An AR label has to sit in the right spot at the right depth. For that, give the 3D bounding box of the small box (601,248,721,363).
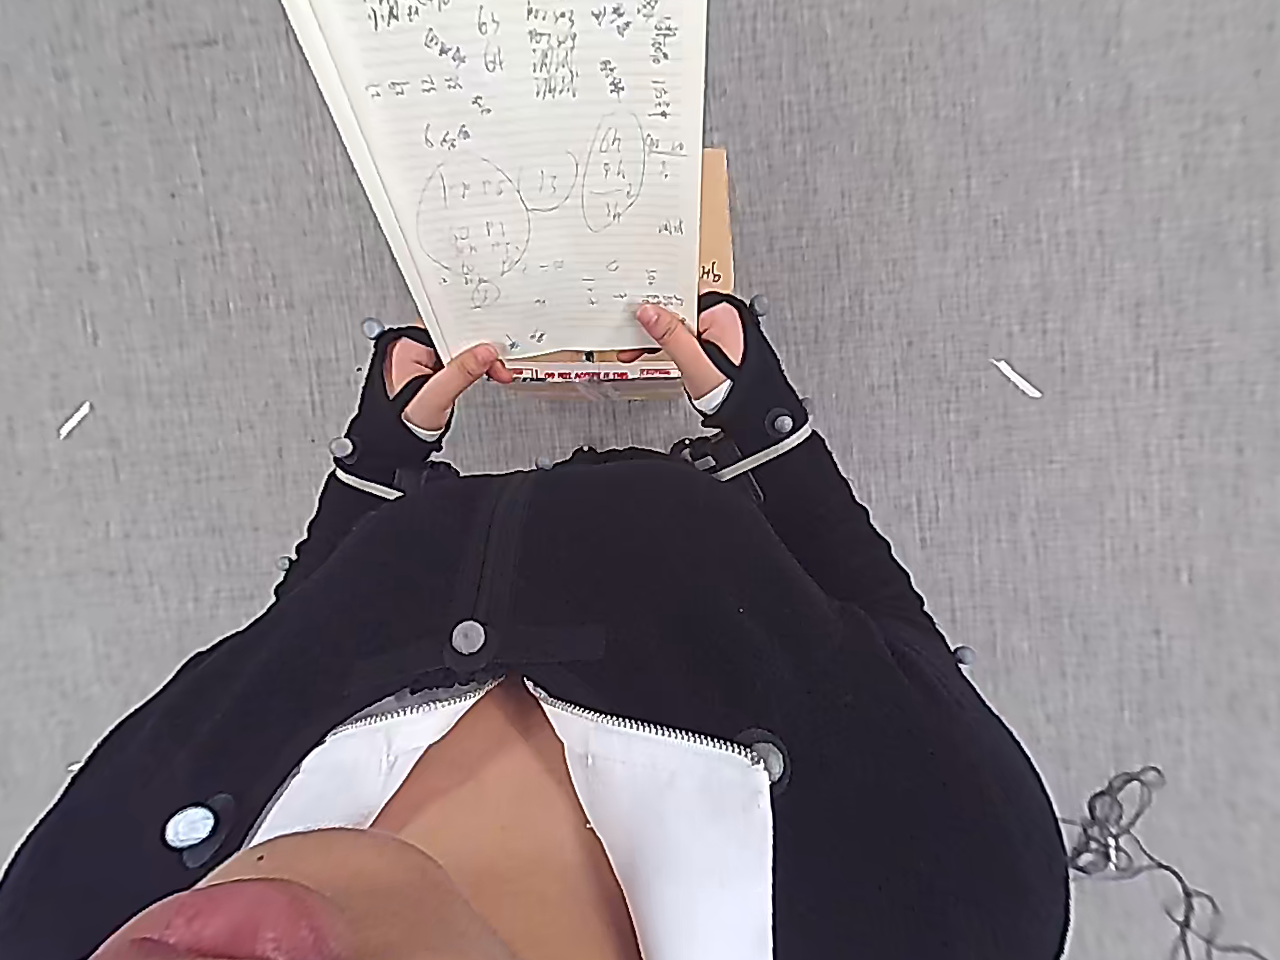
[{"bbox_3d":[0.032,-0.301,0.924,0.179,0.176,0.168,-7,94,1],"label":"small box"}]

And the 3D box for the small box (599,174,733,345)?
[{"bbox_3d":[0.030,-0.297,0.760,0.168,0.176,0.179,-4,94,-1],"label":"small box"}]
